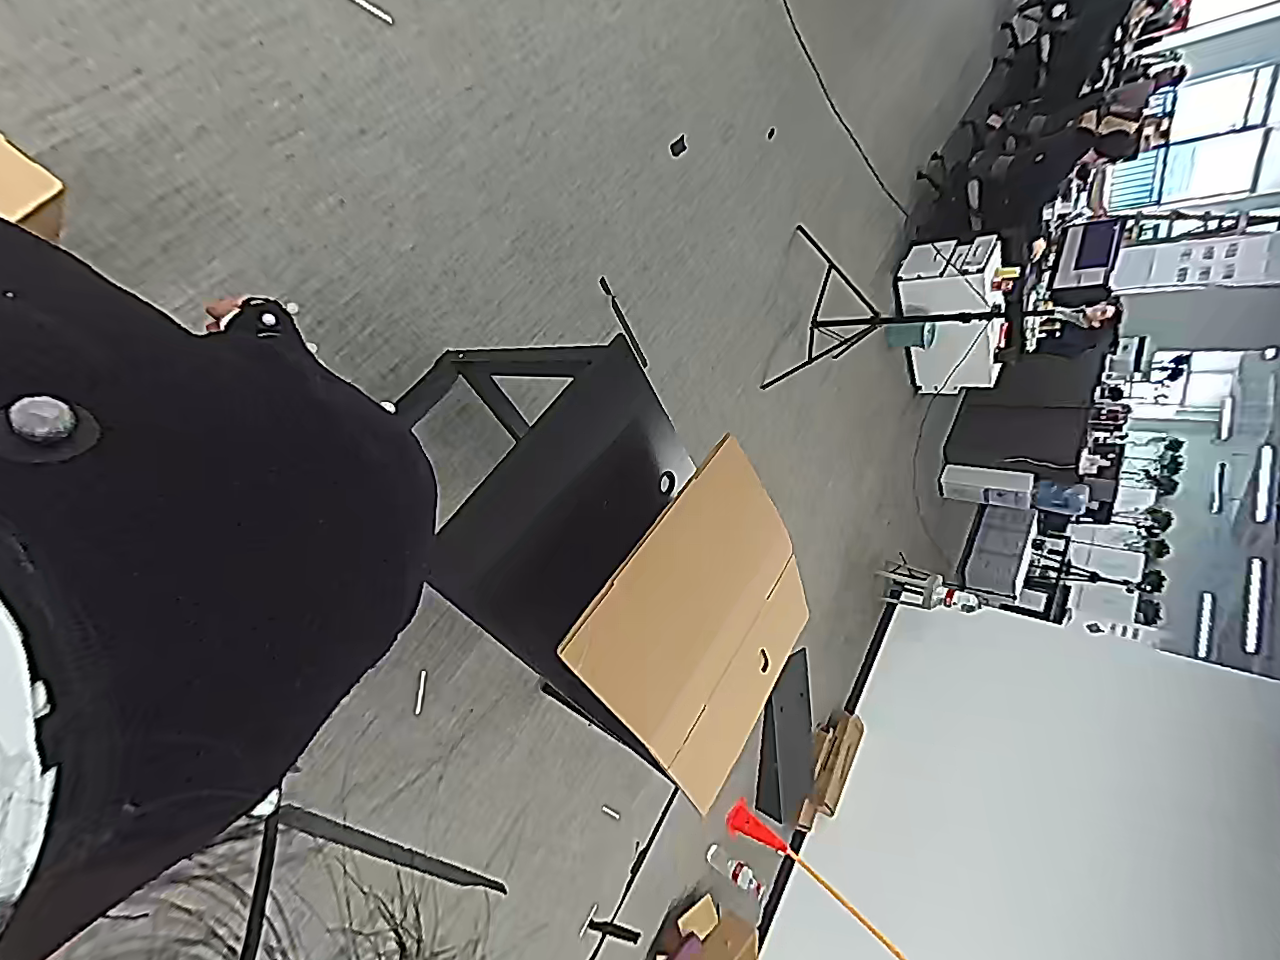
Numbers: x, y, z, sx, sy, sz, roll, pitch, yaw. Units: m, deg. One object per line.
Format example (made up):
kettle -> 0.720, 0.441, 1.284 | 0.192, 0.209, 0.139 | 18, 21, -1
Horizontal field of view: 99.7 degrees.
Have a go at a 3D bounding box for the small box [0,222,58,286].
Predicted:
small box -> -1.116, -0.408, 0.875 | 0.179, 0.176, 0.168 | -57, 133, -22

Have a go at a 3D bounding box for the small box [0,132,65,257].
small box -> -0.873, -0.366, 0.660 | 0.168, 0.176, 0.179 | 48, 62, -41
